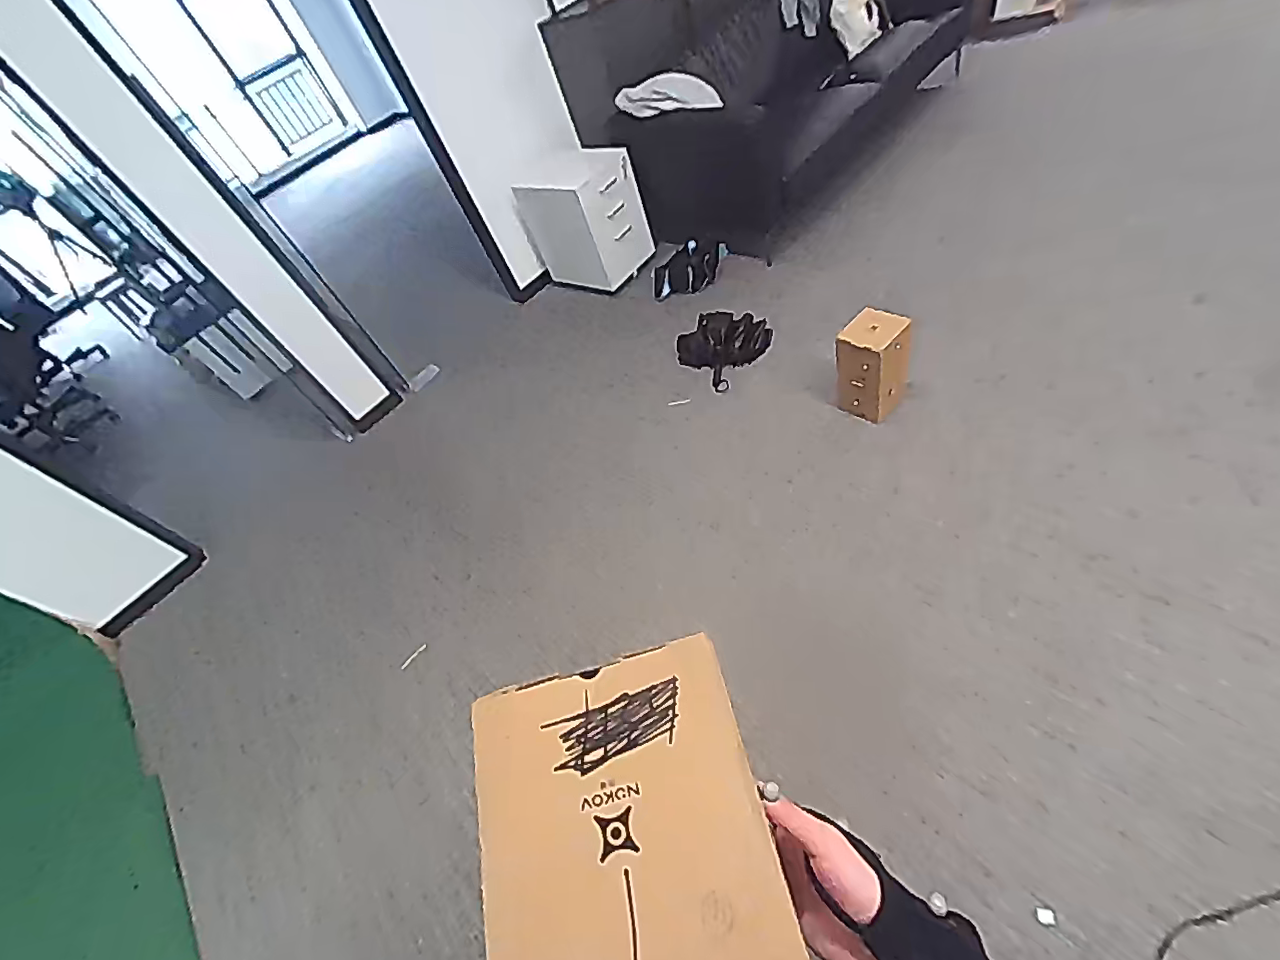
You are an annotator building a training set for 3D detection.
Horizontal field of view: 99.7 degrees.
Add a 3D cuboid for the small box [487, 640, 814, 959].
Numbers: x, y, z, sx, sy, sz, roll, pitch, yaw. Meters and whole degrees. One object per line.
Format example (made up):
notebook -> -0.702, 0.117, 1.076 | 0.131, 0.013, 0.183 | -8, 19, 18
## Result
small box -> 0.006, 0.239, 0.383 | 0.168, 0.176, 0.179 | -17, 58, 2
